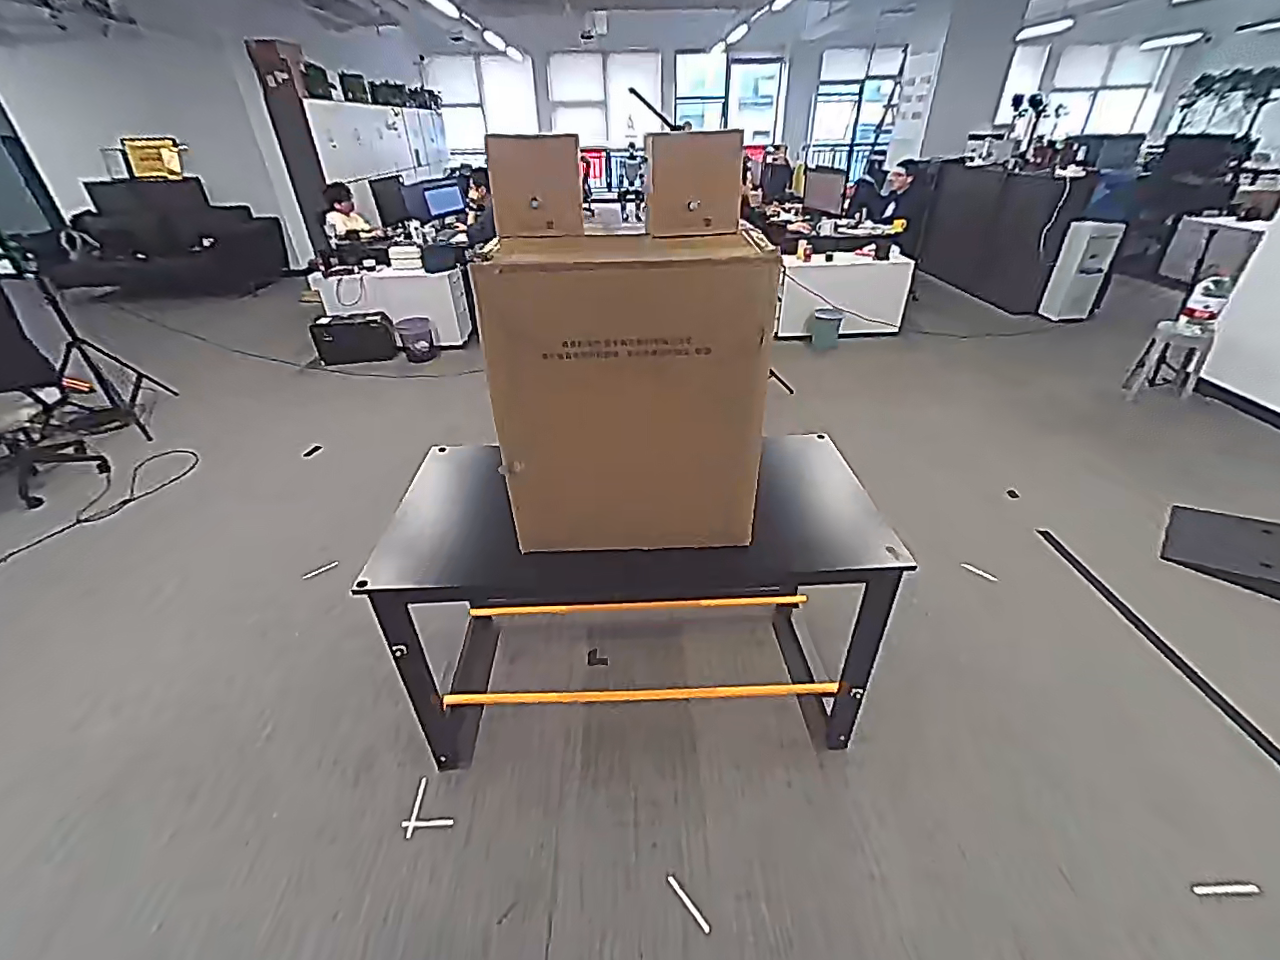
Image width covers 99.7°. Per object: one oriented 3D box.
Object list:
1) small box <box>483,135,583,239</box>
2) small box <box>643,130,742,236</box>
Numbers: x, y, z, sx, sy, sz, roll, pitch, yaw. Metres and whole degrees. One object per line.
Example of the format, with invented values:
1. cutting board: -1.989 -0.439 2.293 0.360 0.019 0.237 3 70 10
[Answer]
1. small box: -0.201 -0.578 1.066 0.168 0.176 0.179 -3 32 -3
2. small box: 0.092 -0.572 1.044 0.168 0.176 0.179 -4 32 -2
